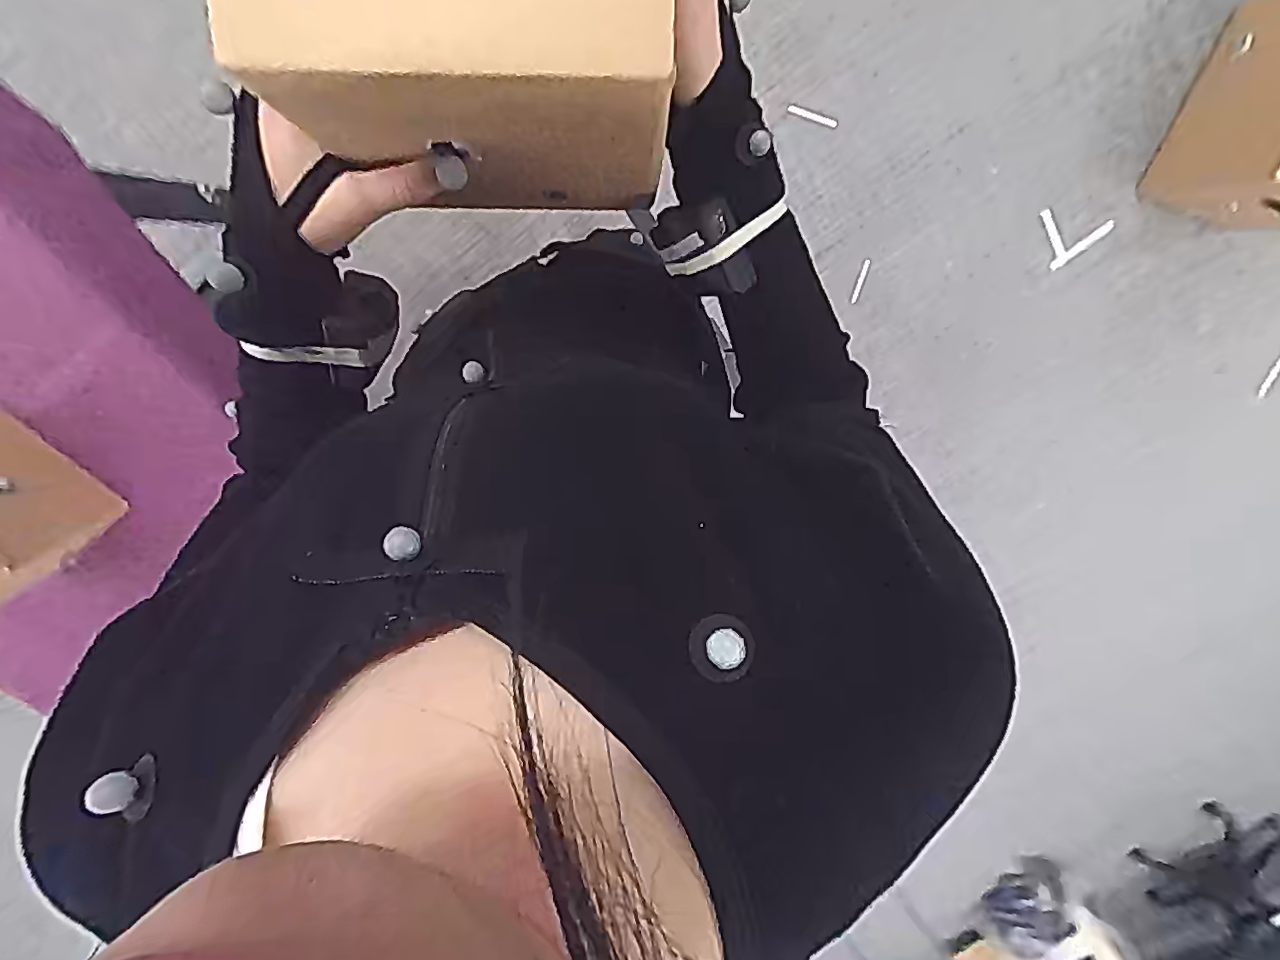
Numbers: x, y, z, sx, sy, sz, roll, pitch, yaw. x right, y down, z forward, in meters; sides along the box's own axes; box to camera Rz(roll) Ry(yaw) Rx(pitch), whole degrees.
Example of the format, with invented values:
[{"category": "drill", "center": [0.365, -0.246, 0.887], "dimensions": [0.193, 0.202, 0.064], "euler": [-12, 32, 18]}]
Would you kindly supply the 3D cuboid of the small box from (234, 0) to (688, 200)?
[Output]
[{"category": "small box", "center": [-0.062, -0.251, 0.259], "dimensions": [0.168, 0.176, 0.179], "euler": [1, 100, -2]}]
